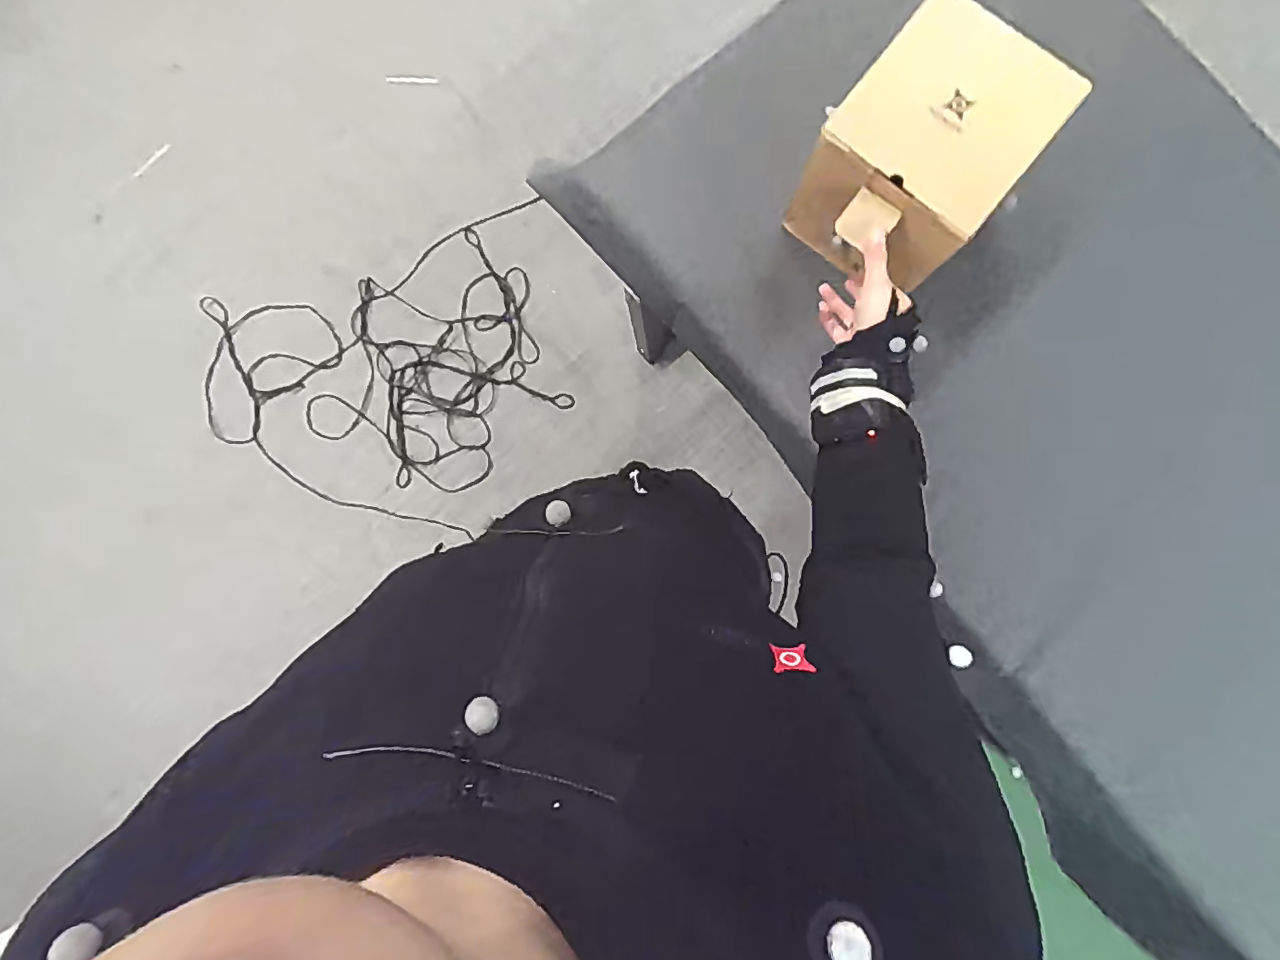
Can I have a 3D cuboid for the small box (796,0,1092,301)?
[{"bbox_3d":[0.288,-0.324,0.559,0.168,0.176,0.179,39,90,3],"label":"small box"}]
